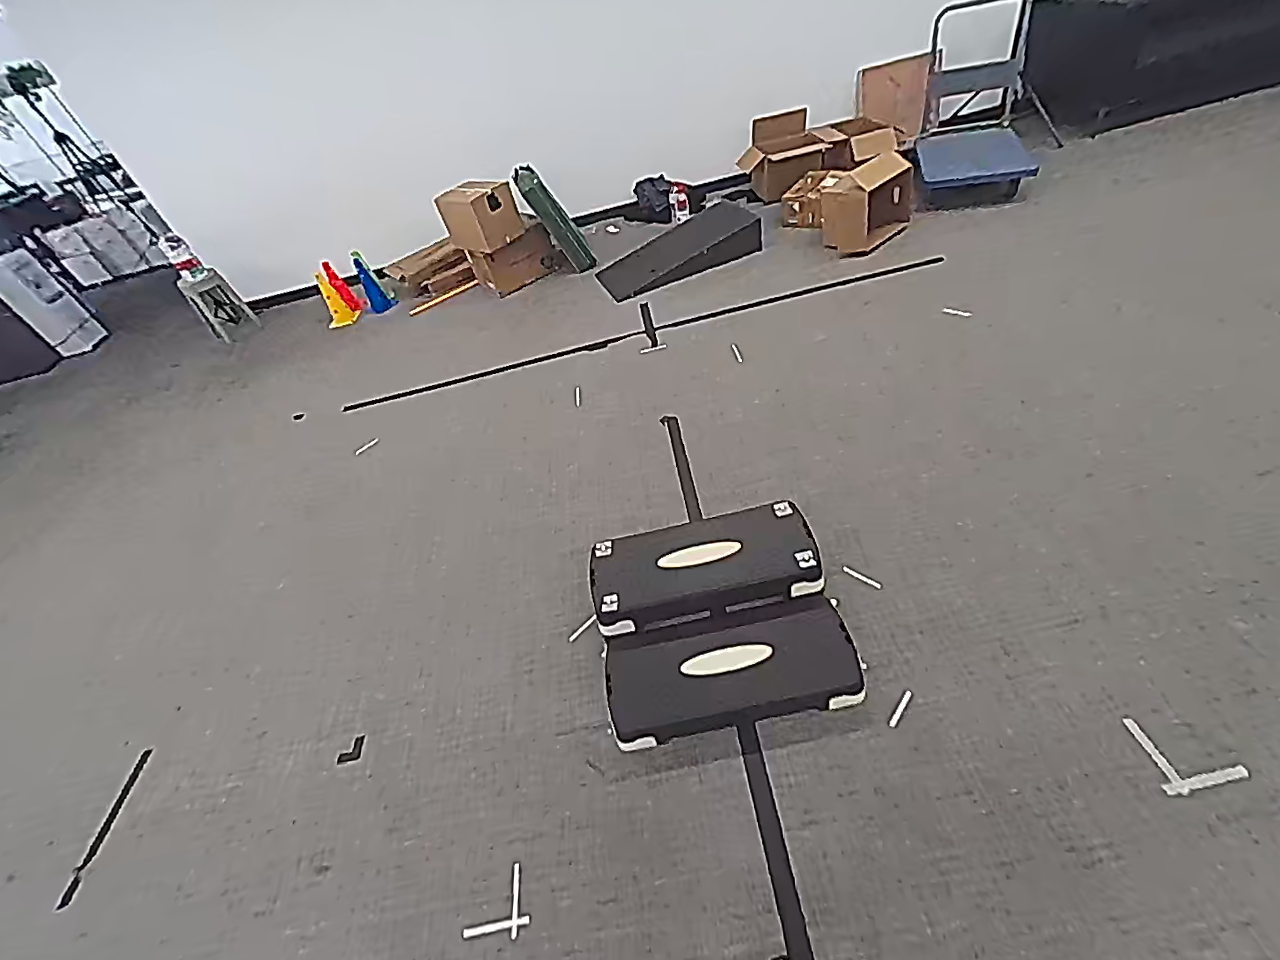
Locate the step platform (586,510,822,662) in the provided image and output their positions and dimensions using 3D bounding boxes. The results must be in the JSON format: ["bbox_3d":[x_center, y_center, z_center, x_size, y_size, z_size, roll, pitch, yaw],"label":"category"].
[{"bbox_3d":[0.181,0.311,1.626,0.684,0.204,0.286,-13,44,2],"label":"step platform"}]
